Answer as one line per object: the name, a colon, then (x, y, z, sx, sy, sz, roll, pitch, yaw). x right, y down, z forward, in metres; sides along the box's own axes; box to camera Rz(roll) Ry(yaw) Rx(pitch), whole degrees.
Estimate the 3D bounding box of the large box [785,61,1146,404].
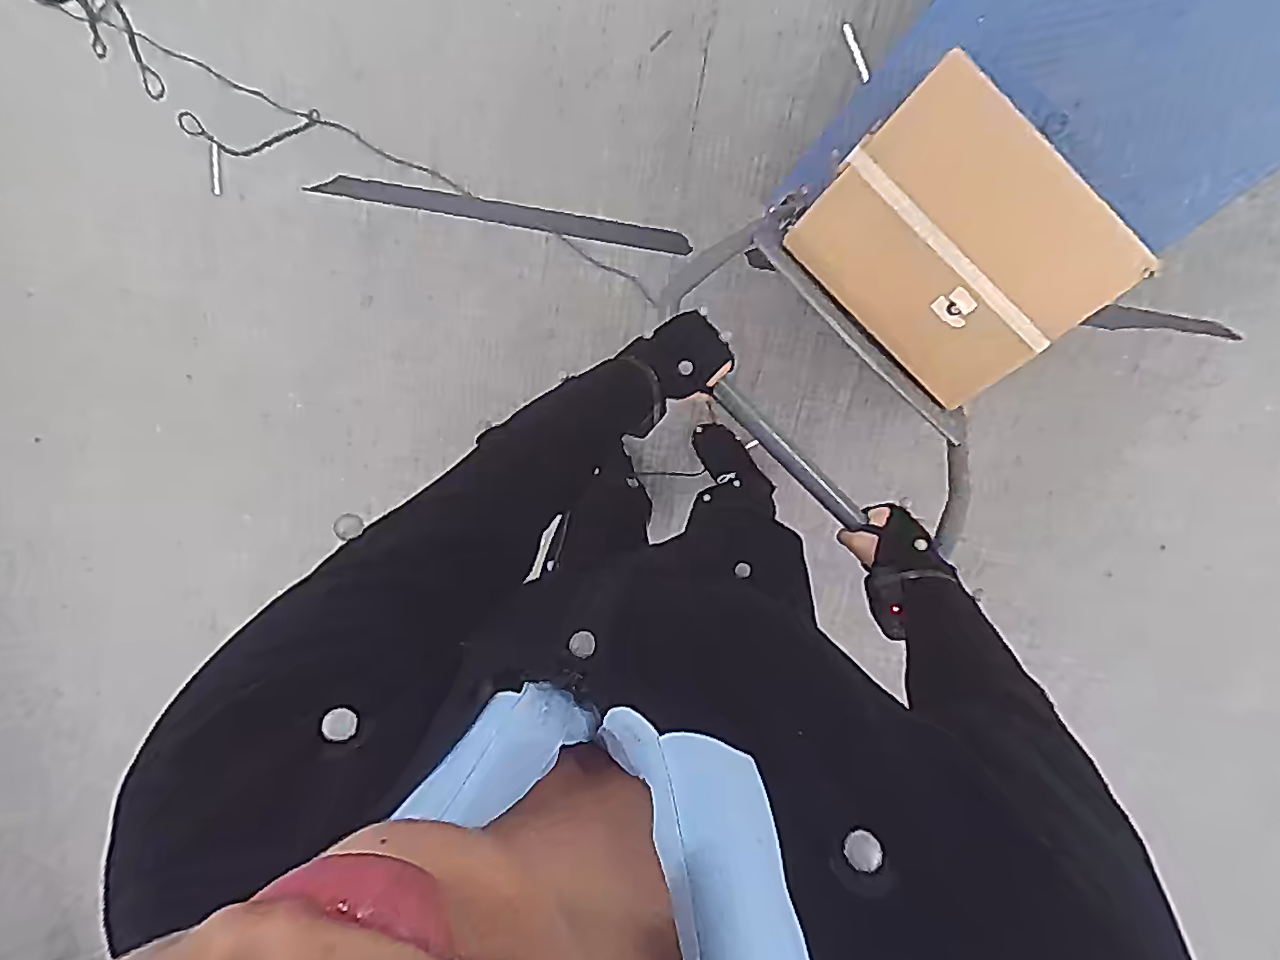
large box: (0.522, -0.416, 0.941, 0.408, 0.320, 0.320, 43, 128, -4)
